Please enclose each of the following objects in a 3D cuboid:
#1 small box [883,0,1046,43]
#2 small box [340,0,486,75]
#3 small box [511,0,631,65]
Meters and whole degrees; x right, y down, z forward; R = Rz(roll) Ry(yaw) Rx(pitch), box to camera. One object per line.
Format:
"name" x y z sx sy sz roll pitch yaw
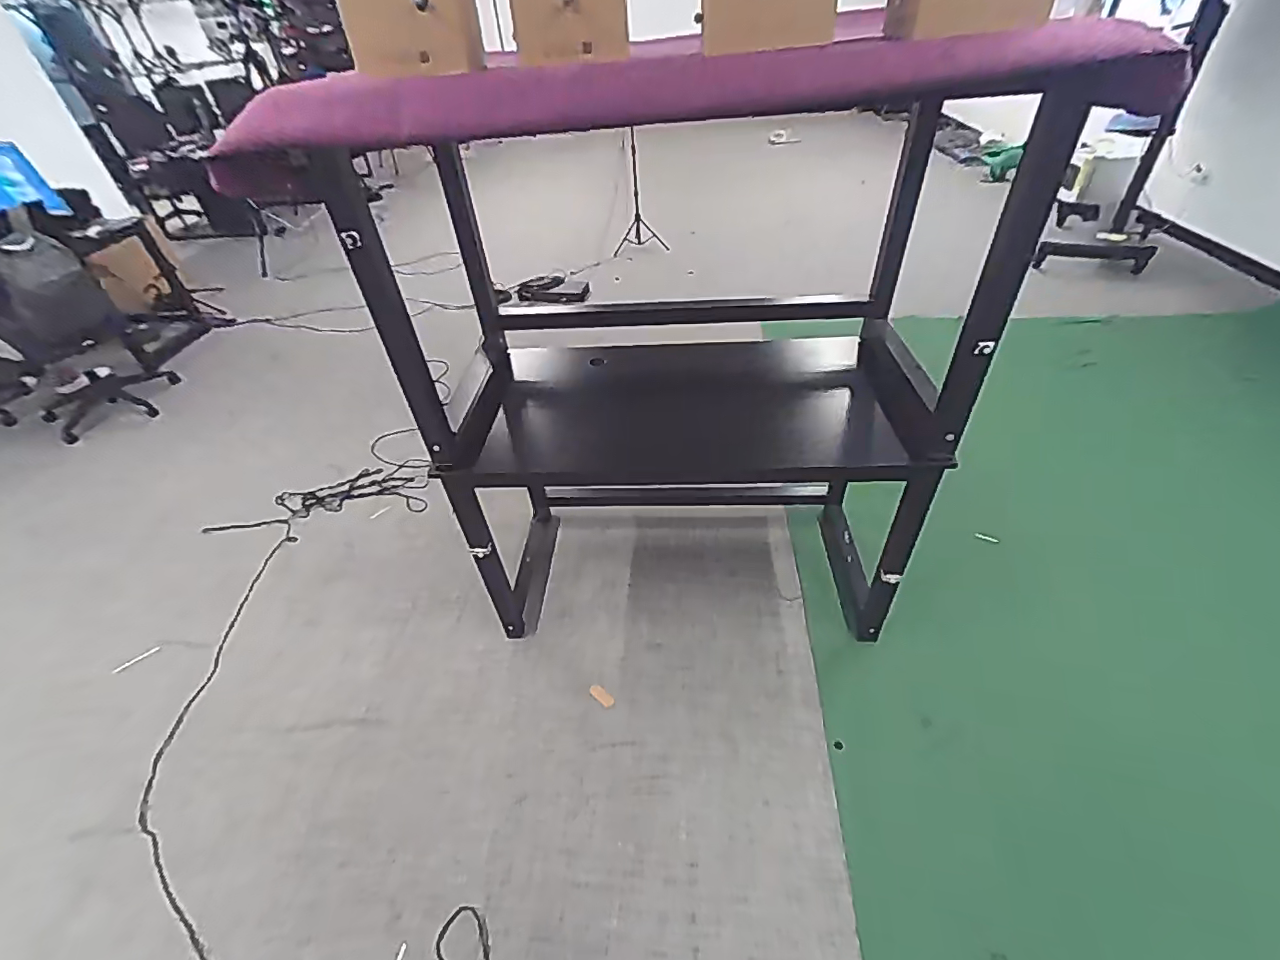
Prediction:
"small box" 0.458 -0.721 0.741 0.179 0.176 0.168 -1 42 6
"small box" -0.342 -0.722 0.817 0.168 0.176 0.179 -3 40 -1
"small box" -0.101 -0.733 0.807 0.168 0.176 0.179 -3 41 1
